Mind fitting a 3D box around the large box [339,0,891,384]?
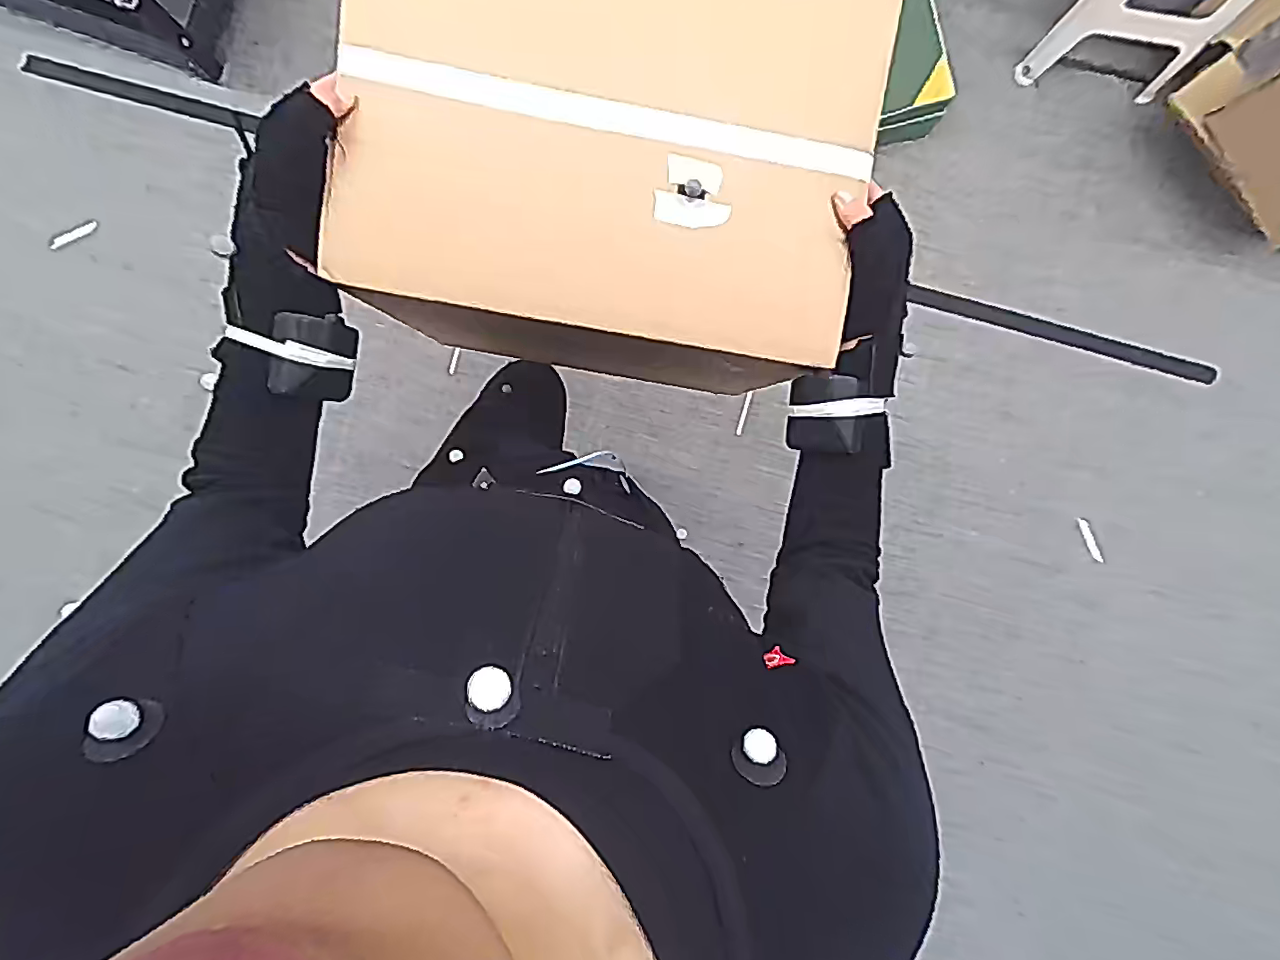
[{"bbox_3d":[-0.029,-0.294,0.567,0.408,0.320,0.320,9,95,-6],"label":"large box"}]
